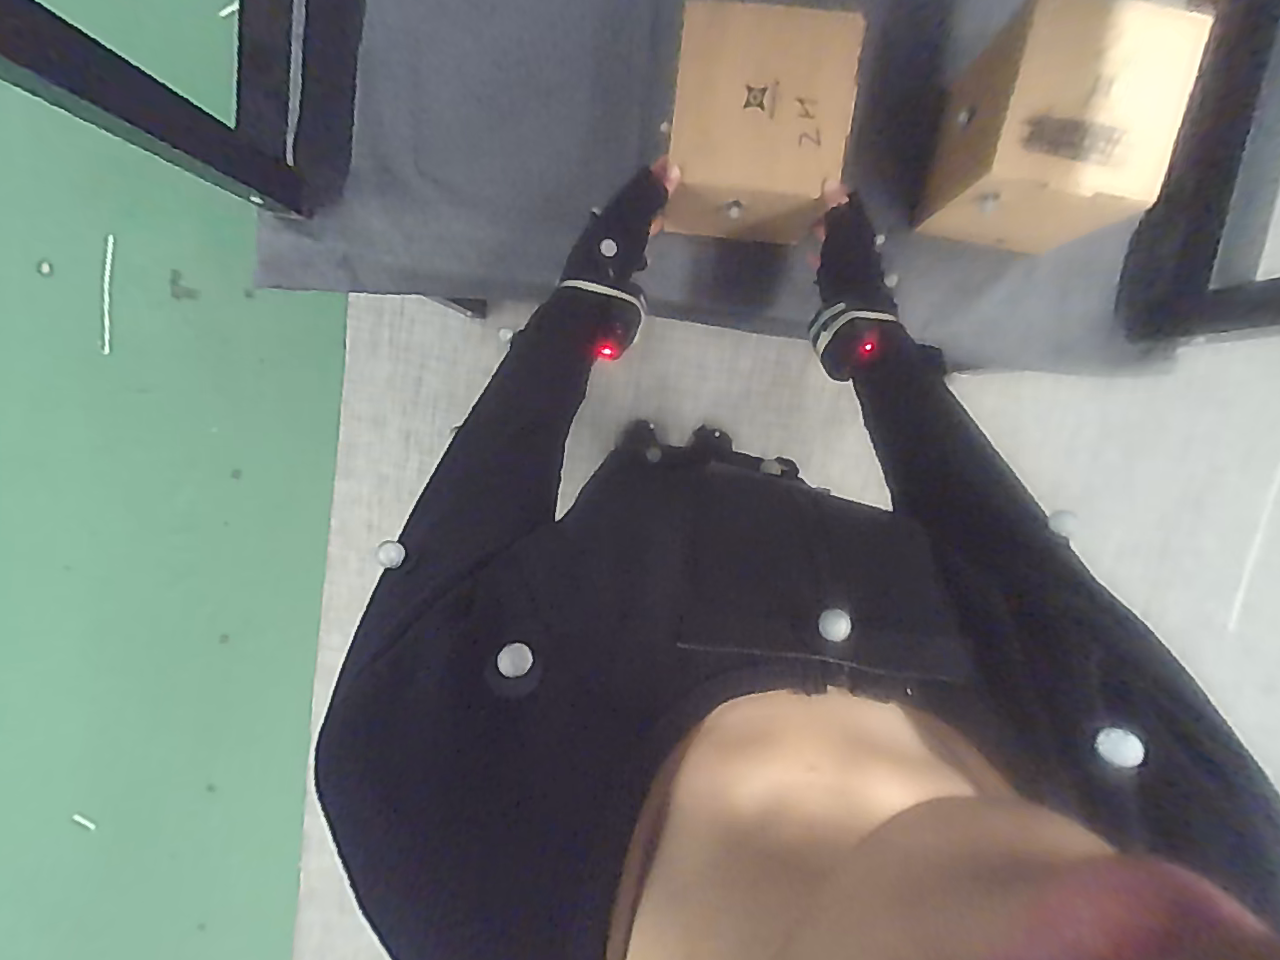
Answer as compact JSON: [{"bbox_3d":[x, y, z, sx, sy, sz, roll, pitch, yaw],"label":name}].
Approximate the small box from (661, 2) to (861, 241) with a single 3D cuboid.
[{"bbox_3d":[0.120,-0.384,0.611,0.179,0.176,0.168,7,99,1],"label":"small box"}]
